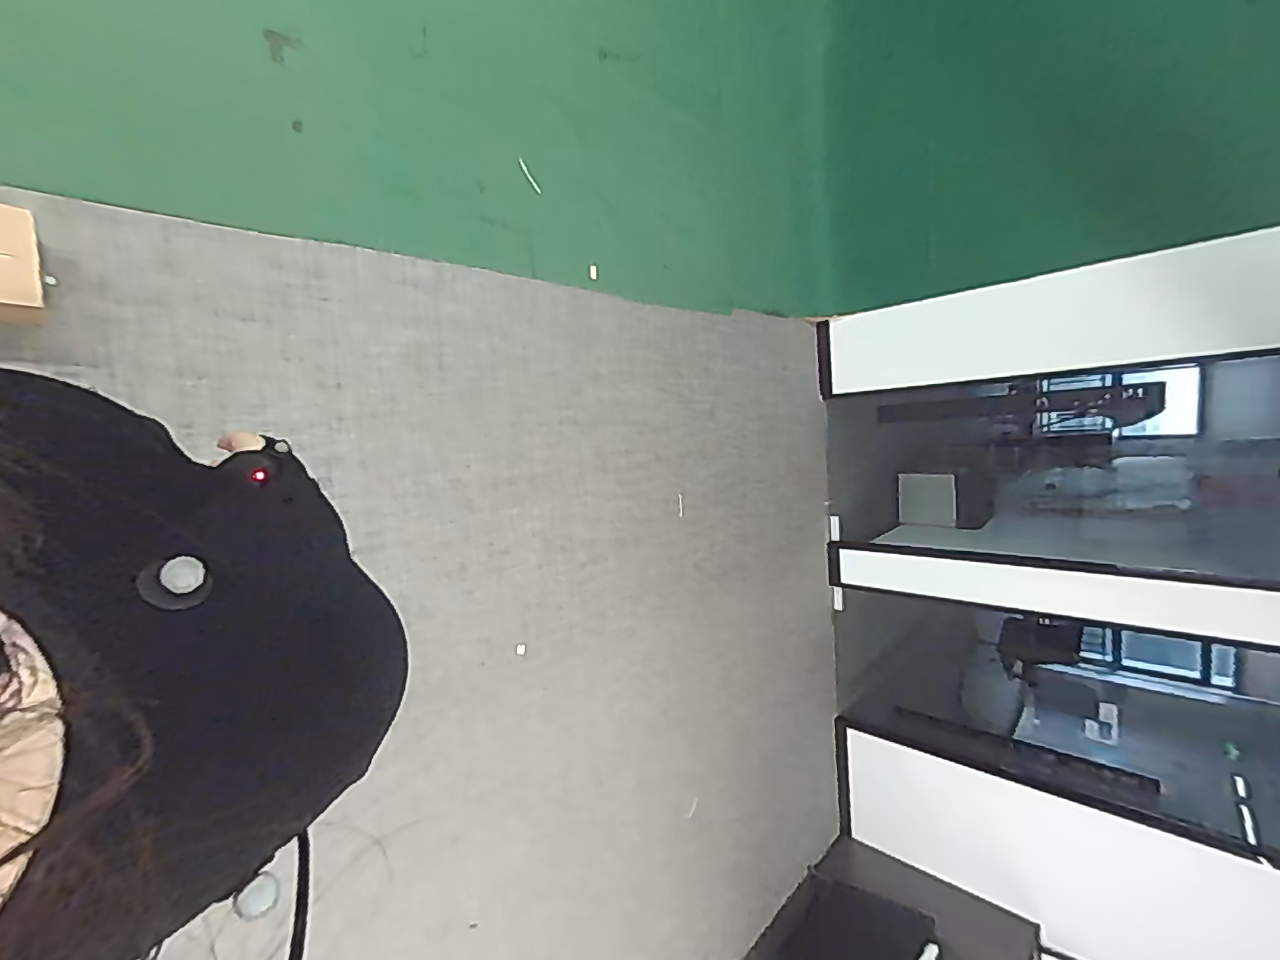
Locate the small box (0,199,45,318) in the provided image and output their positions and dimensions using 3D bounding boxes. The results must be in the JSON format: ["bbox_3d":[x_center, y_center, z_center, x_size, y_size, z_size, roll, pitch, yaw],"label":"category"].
[{"bbox_3d":[-1.137,-0.378,0.907,0.179,0.176,0.168,-5,95,-47],"label":"small box"}]
